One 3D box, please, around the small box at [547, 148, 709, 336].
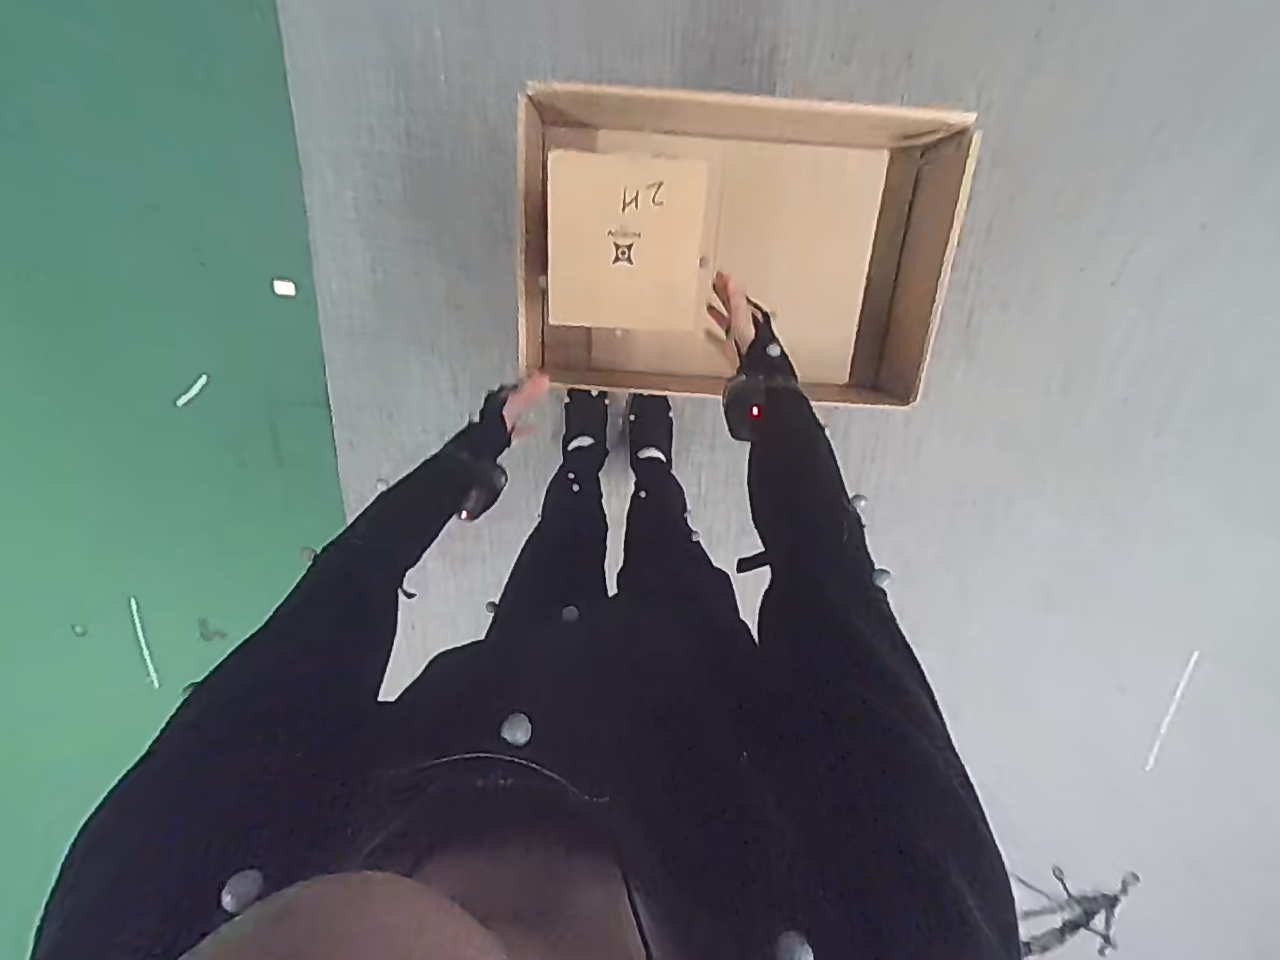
[{"bbox_3d":[-0.015,-0.274,0.649,0.168,0.176,0.179,4,108,-1],"label":"small box"}]
